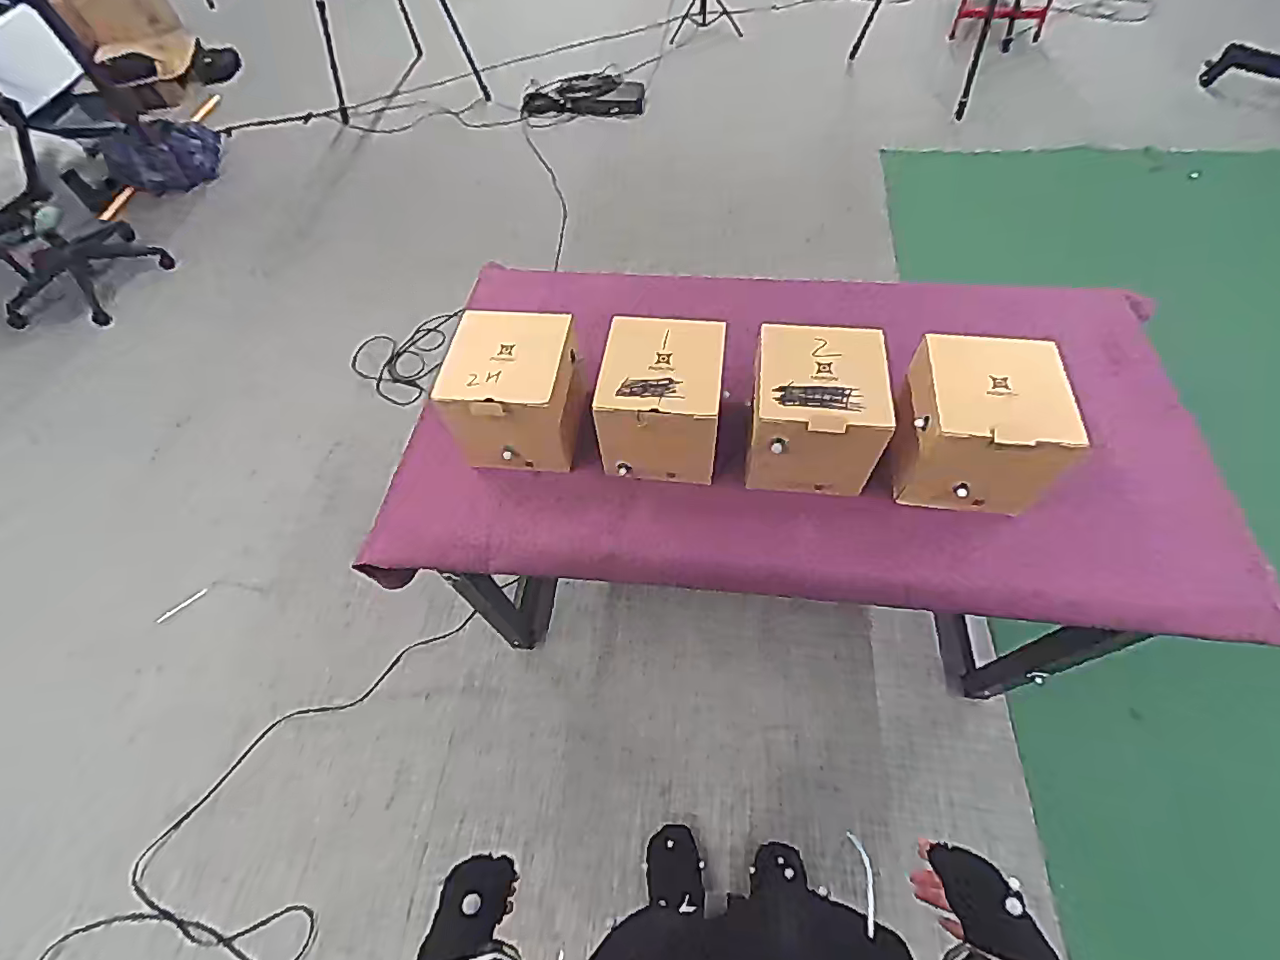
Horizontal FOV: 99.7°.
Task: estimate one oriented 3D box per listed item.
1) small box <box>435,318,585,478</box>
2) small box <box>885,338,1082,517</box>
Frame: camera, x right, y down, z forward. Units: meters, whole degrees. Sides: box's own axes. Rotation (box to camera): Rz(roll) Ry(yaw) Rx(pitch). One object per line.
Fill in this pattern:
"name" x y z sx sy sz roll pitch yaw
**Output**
"small box" -0.185 -0.125 0.835 0.168 0.176 0.179 4 58 7
"small box" 0.457 -0.071 0.756 0.168 0.176 0.179 6 58 8
